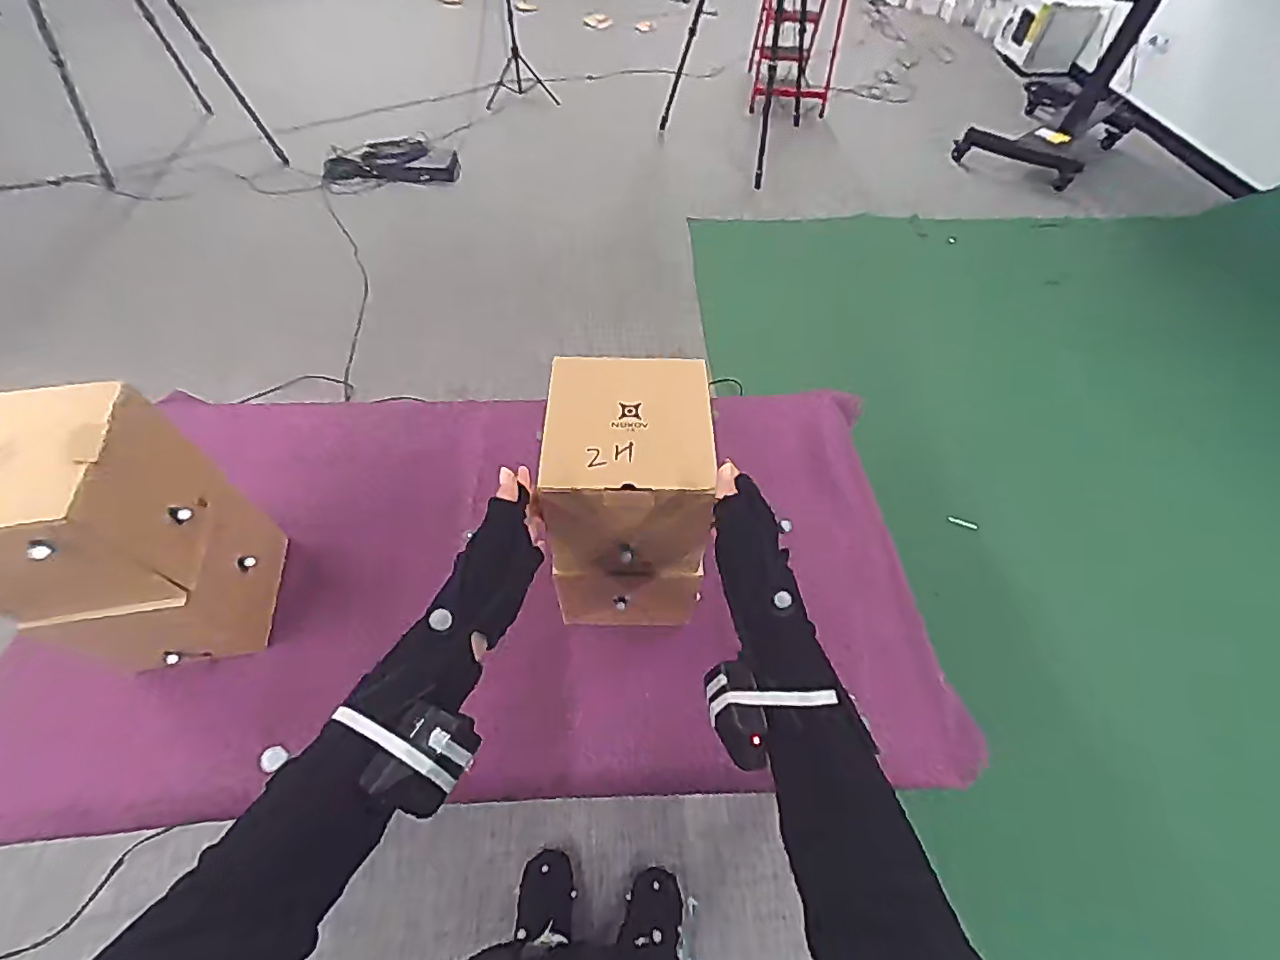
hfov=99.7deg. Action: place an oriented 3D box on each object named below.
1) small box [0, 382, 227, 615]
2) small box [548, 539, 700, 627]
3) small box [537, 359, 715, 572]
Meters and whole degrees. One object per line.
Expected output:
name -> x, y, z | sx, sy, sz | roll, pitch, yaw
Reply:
small box -> -0.583, 0.025, 0.557 | 0.179, 0.176, 0.168 | -8, 56, -8
small box -> -0.016, 0.087, 0.727 | 0.179, 0.176, 0.168 | 4, 53, 1
small box -> -0.014, -0.012, 0.600 | 0.168, 0.176, 0.179 | 0, 56, 0
